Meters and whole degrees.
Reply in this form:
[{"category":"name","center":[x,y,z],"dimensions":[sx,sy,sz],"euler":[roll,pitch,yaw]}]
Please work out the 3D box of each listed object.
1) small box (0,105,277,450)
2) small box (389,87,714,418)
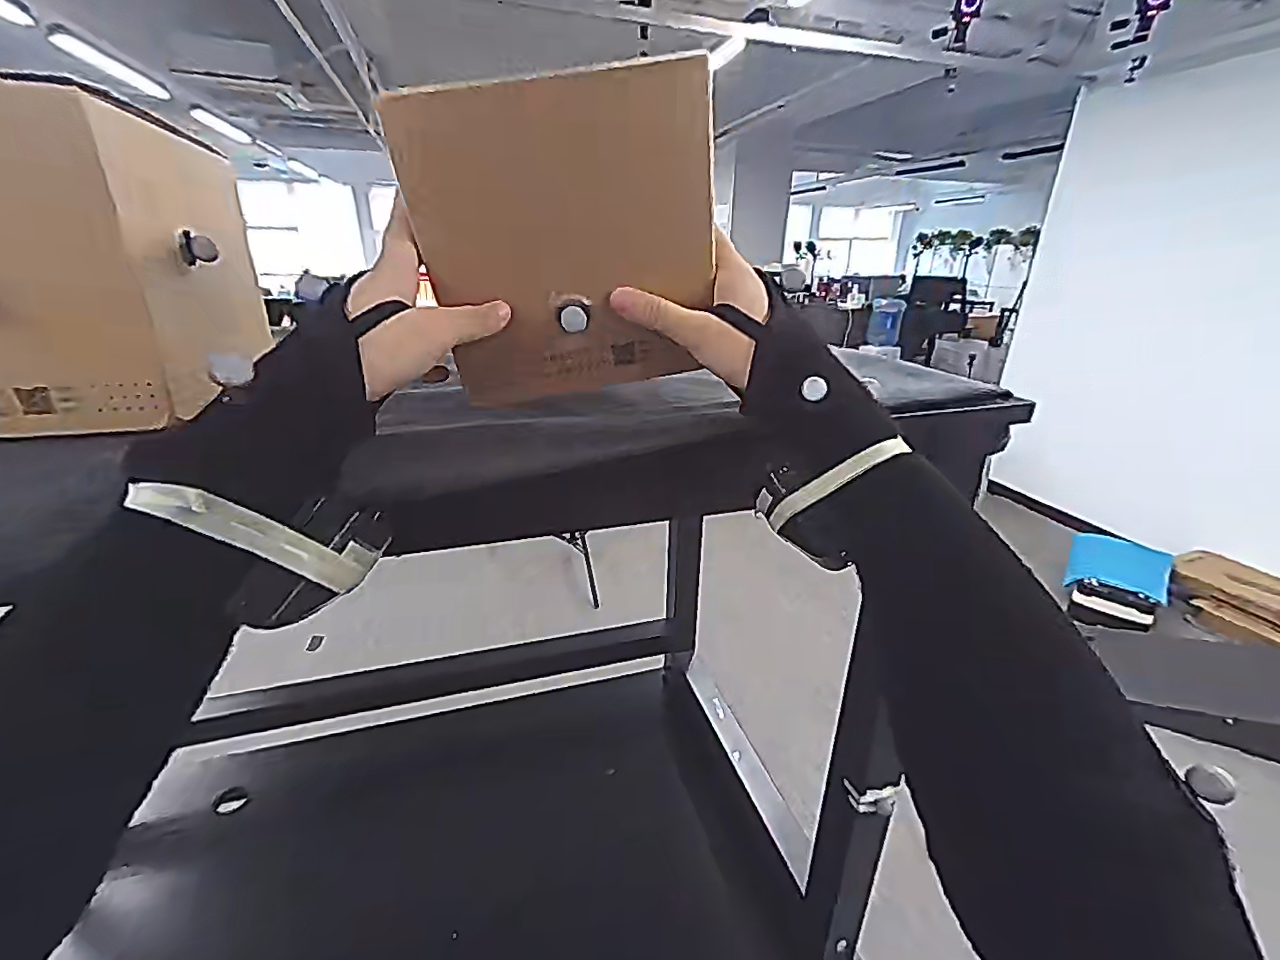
[{"category":"small box","center":[-0.358,-0.119,0.339],"dimensions":[0.168,0.176,0.179],"euler":[-5,22,-16]},{"category":"small box","center":[-0.050,-0.163,0.385],"dimensions":[0.168,0.176,0.179],"euler":[-11,35,-5]}]
